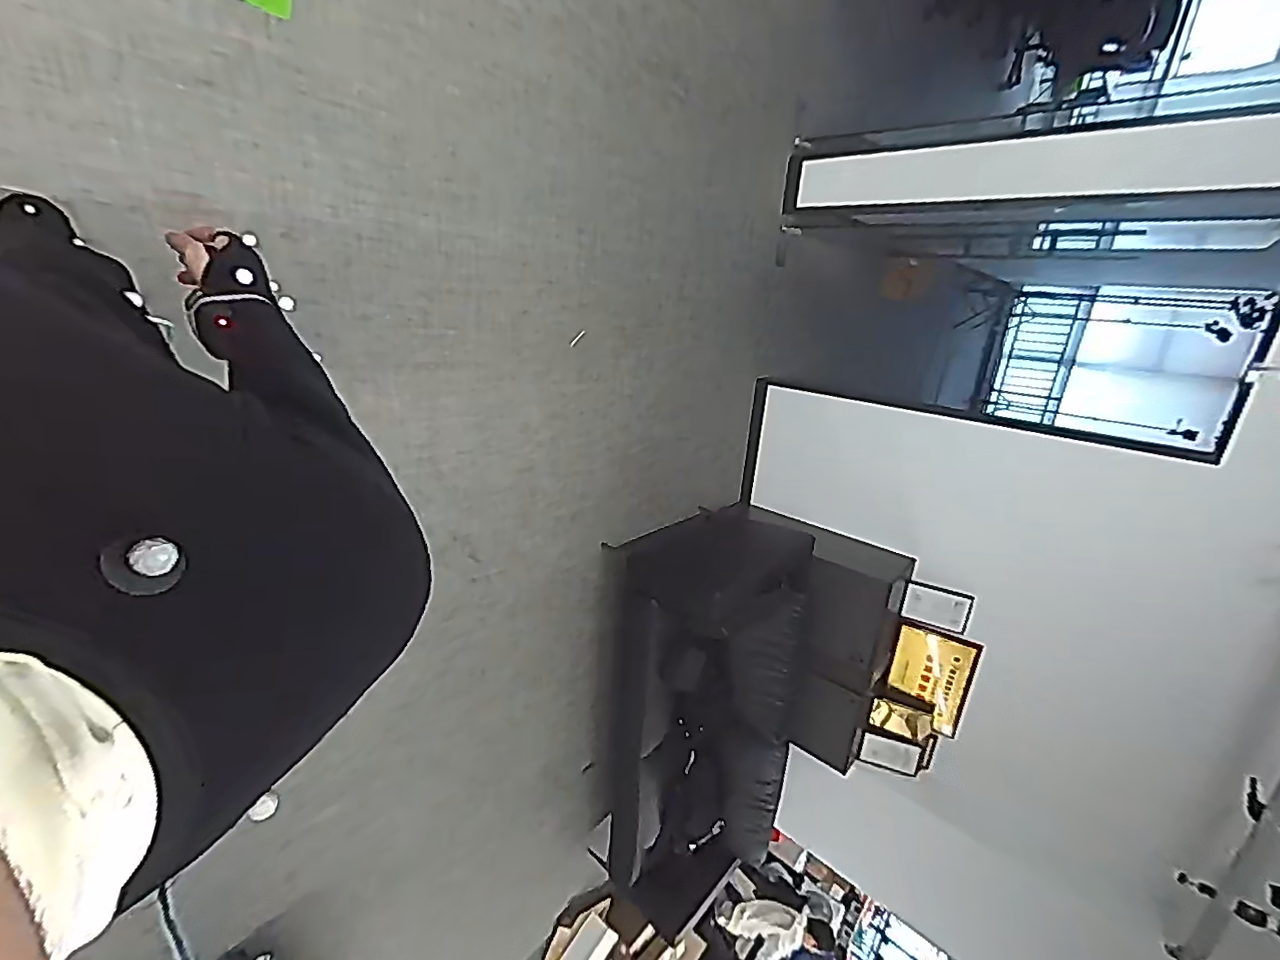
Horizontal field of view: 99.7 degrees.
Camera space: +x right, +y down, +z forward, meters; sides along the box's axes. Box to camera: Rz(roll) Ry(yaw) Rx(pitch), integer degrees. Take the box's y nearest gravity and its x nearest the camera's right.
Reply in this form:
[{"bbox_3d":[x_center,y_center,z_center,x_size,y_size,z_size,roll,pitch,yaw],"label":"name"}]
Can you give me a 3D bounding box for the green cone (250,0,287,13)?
[{"bbox_3d":[-0.734,-1.105,1.042,0.200,0.368,0.202,-8,110,-50],"label":"green cone"}]
